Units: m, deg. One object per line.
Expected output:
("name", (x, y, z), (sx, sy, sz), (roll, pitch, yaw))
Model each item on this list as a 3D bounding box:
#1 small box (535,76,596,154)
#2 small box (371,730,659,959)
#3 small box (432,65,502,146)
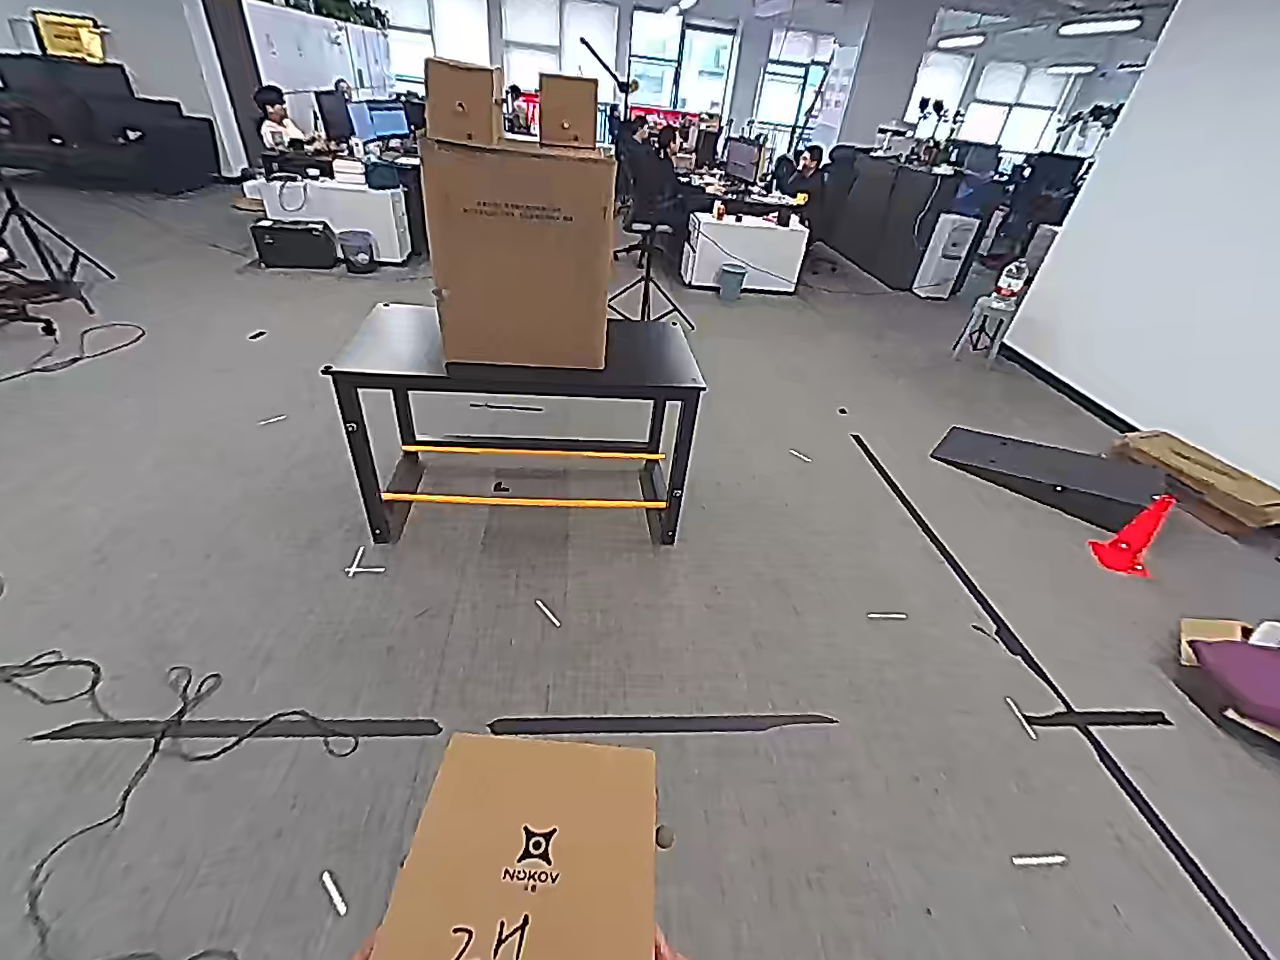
("small box", (-0.219, -1.066, 1.581), (0.168, 0.176, 0.179), (-2, 36, -9))
("small box", (-0.076, 0.321, 0.400), (0.168, 0.176, 0.179), (4, 29, 0))
("small box", (-0.493, -1.079, 1.561), (0.168, 0.176, 0.179), (0, 36, -9))
